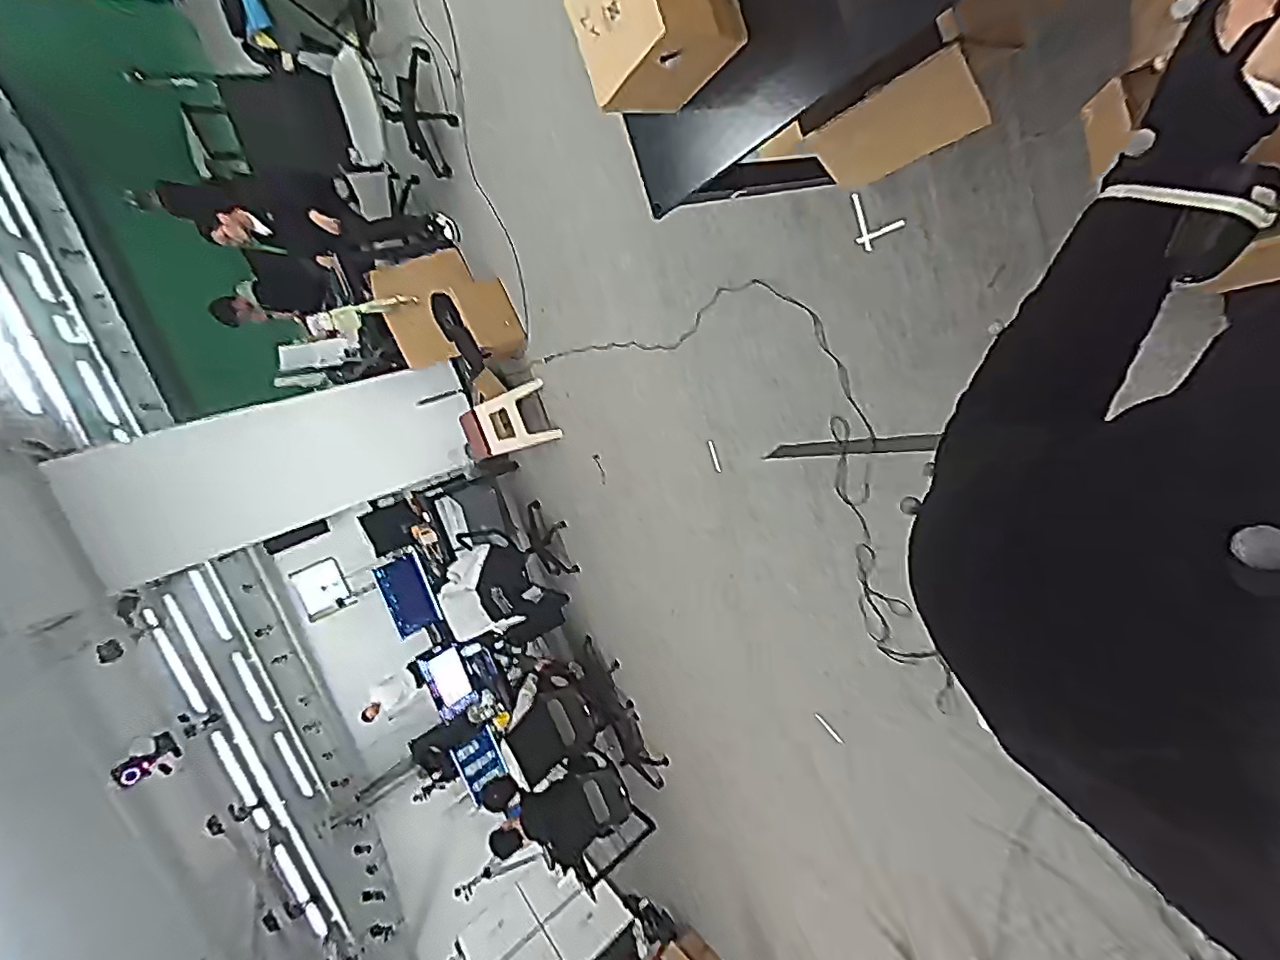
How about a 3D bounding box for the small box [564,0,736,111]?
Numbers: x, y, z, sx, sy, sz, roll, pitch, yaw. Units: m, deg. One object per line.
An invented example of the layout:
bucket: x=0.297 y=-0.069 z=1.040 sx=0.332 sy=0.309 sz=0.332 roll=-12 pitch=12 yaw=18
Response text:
small box: x=0.021 y=-0.685 z=0.801 sx=0.179 sy=0.176 sz=0.168 roll=-4 pitch=108 yaw=56
